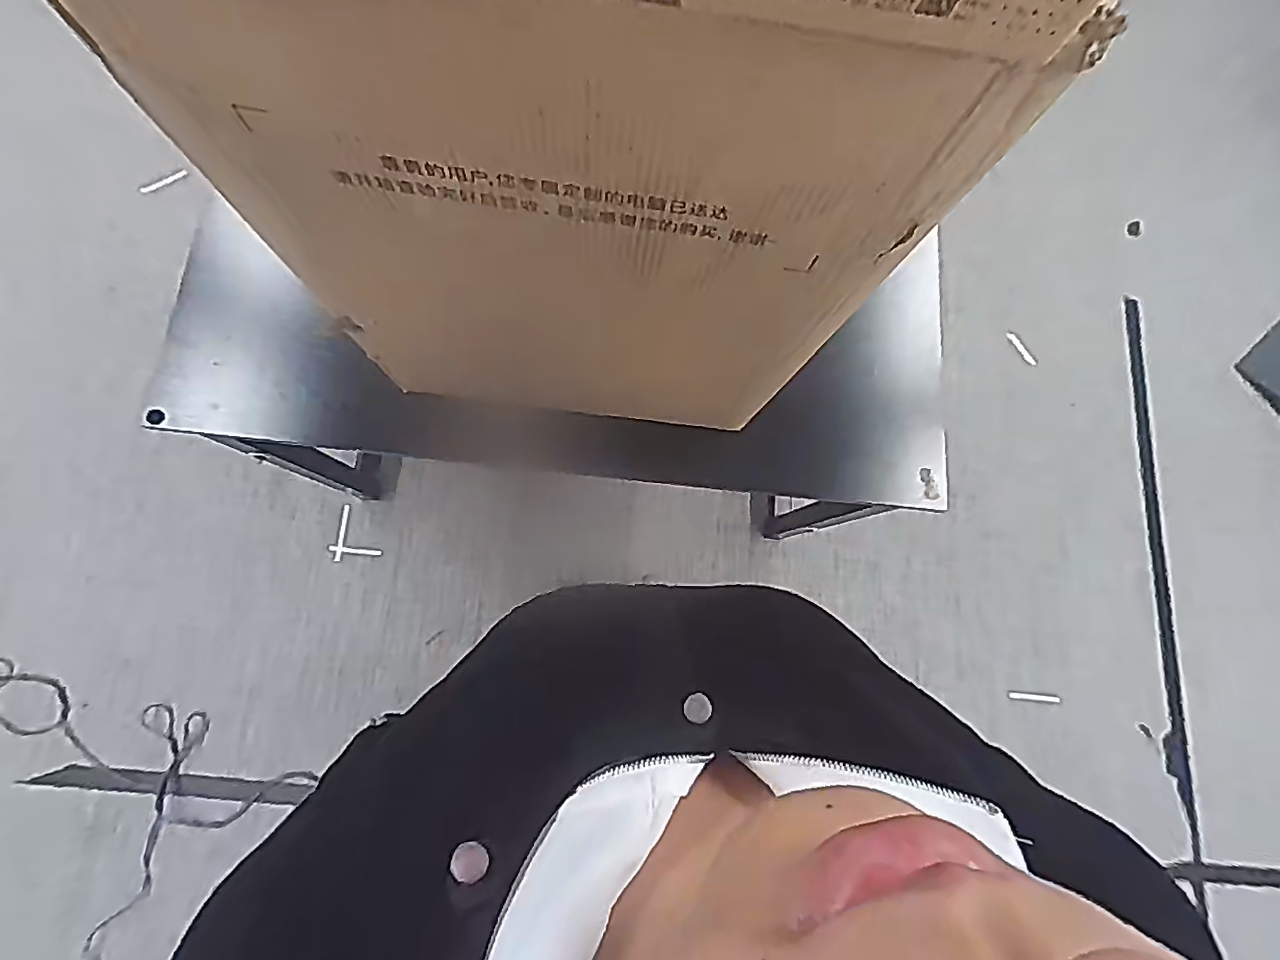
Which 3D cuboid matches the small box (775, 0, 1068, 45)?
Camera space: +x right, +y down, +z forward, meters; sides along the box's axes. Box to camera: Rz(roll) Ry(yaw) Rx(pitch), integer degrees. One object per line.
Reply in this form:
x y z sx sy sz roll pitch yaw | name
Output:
0.111 -0.296 0.169 0.168 0.176 0.179 6 80 -2 | small box
